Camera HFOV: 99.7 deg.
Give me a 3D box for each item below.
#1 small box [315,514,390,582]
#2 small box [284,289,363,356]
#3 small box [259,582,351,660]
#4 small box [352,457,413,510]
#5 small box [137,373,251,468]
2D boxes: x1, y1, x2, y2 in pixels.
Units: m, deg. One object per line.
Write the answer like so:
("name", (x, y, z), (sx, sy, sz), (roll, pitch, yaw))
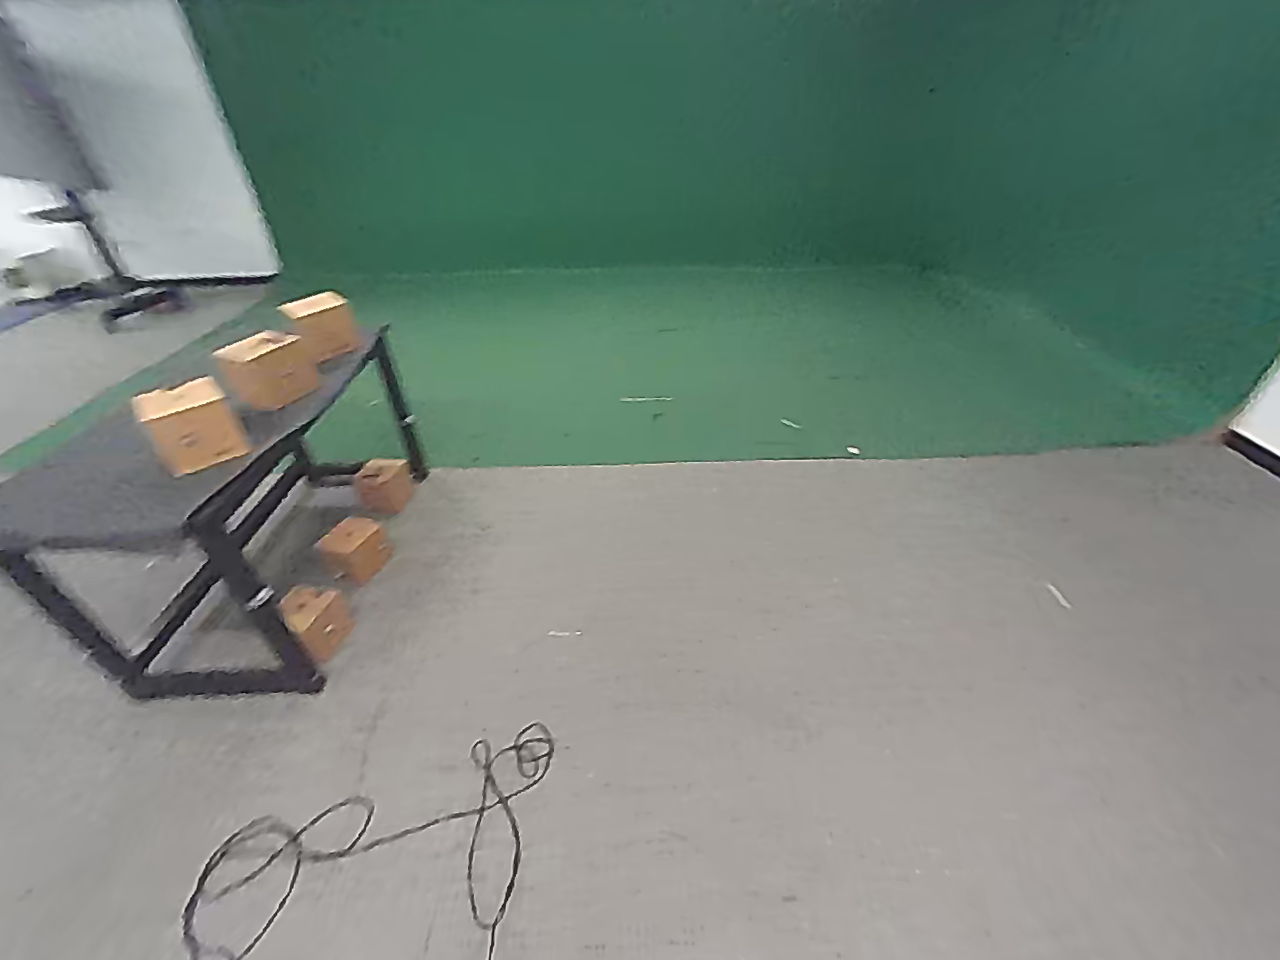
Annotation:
("small box", (-1.087, 0.260, 2.068), (0.168, 0.176, 0.179), (11, 40, 16))
("small box", (-1.132, -0.561, 1.942), (0.168, 0.176, 0.179), (-33, 47, -32))
("small box", (-1.097, 0.469, 1.791), (0.168, 0.176, 0.179), (7, 38, 9))
("small box", (-1.129, 0.017, 2.391), (0.168, 0.176, 0.179), (3, 36, 4))
("small box", (-1.153, -0.152, 1.406), (0.168, 0.176, 0.179), (-30, 45, -33))
